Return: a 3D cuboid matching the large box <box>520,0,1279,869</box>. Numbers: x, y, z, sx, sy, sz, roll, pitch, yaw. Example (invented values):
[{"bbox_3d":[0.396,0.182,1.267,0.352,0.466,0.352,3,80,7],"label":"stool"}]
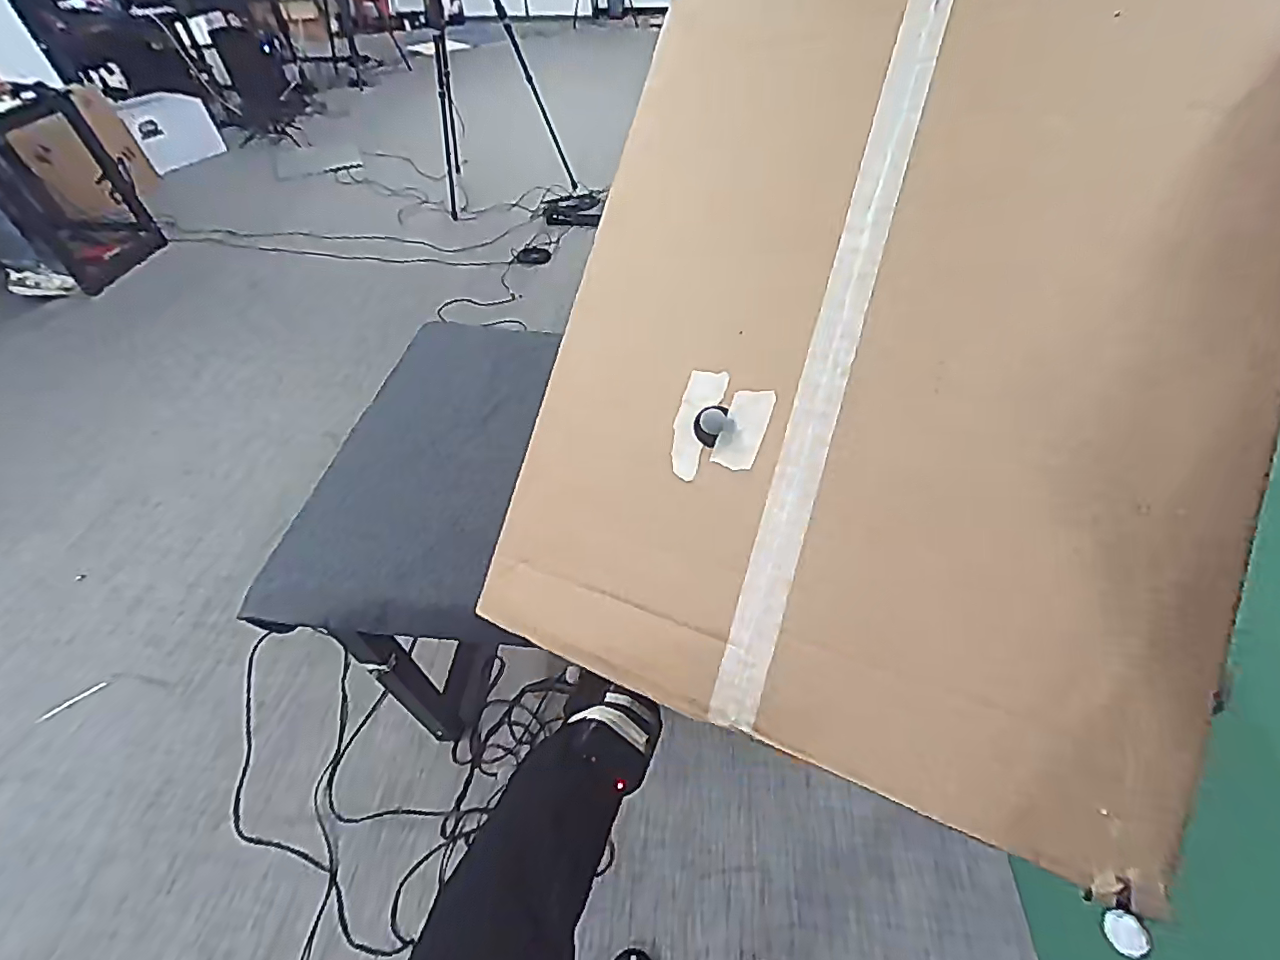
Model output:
[{"bbox_3d":[0.166,-0.051,0.414,0.320,0.320,0.408,14,87,25],"label":"large box"}]
